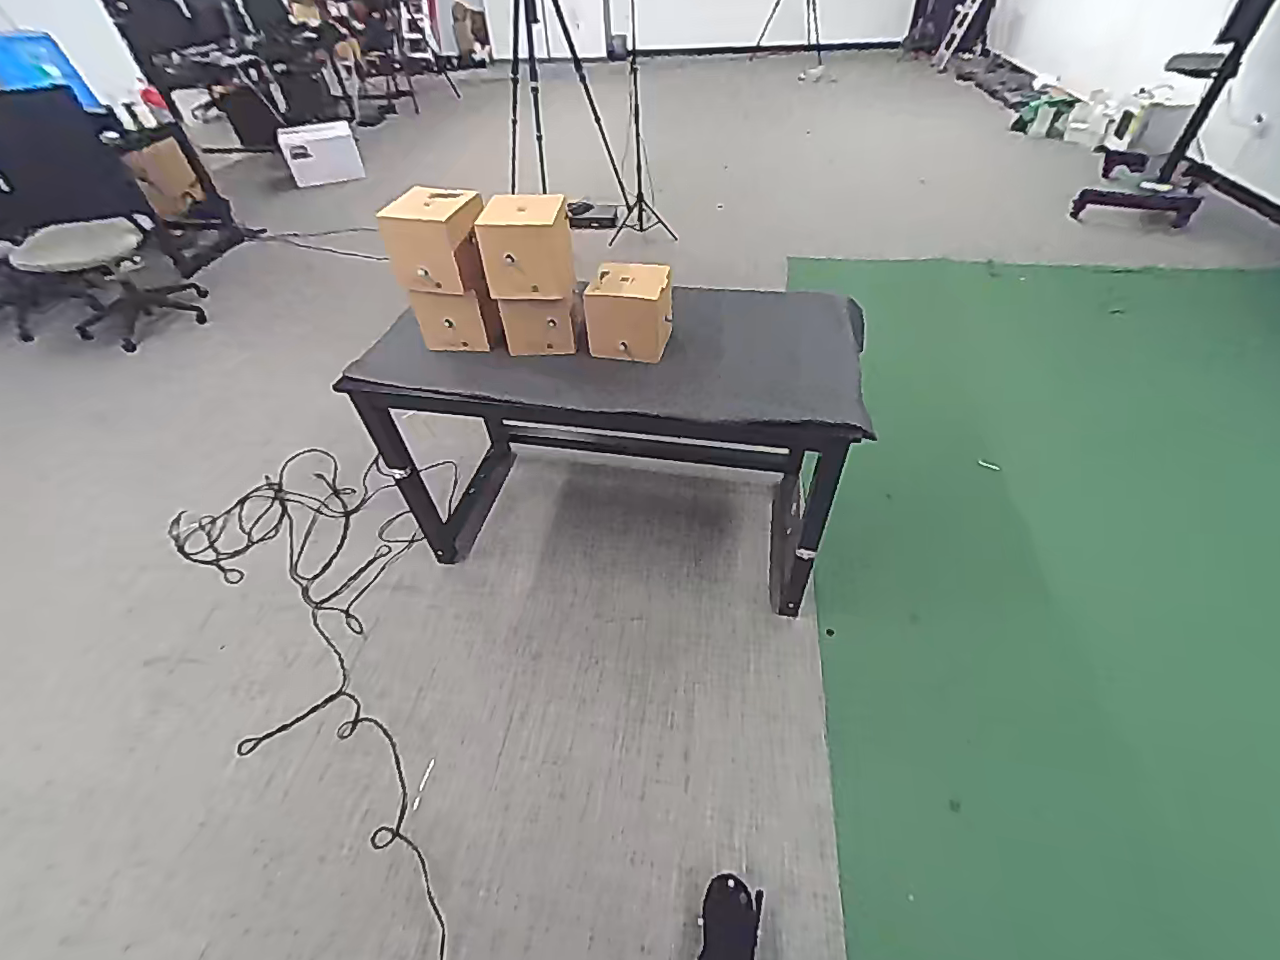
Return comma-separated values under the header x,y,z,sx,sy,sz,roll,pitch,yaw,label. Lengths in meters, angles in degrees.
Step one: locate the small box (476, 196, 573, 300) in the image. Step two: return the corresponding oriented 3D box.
x,y,z,sx,sy,sz,roll,pitch,yaw,label
-0.248,-0.518,1.212,0.168,0.176,0.179,1,46,2,small box
